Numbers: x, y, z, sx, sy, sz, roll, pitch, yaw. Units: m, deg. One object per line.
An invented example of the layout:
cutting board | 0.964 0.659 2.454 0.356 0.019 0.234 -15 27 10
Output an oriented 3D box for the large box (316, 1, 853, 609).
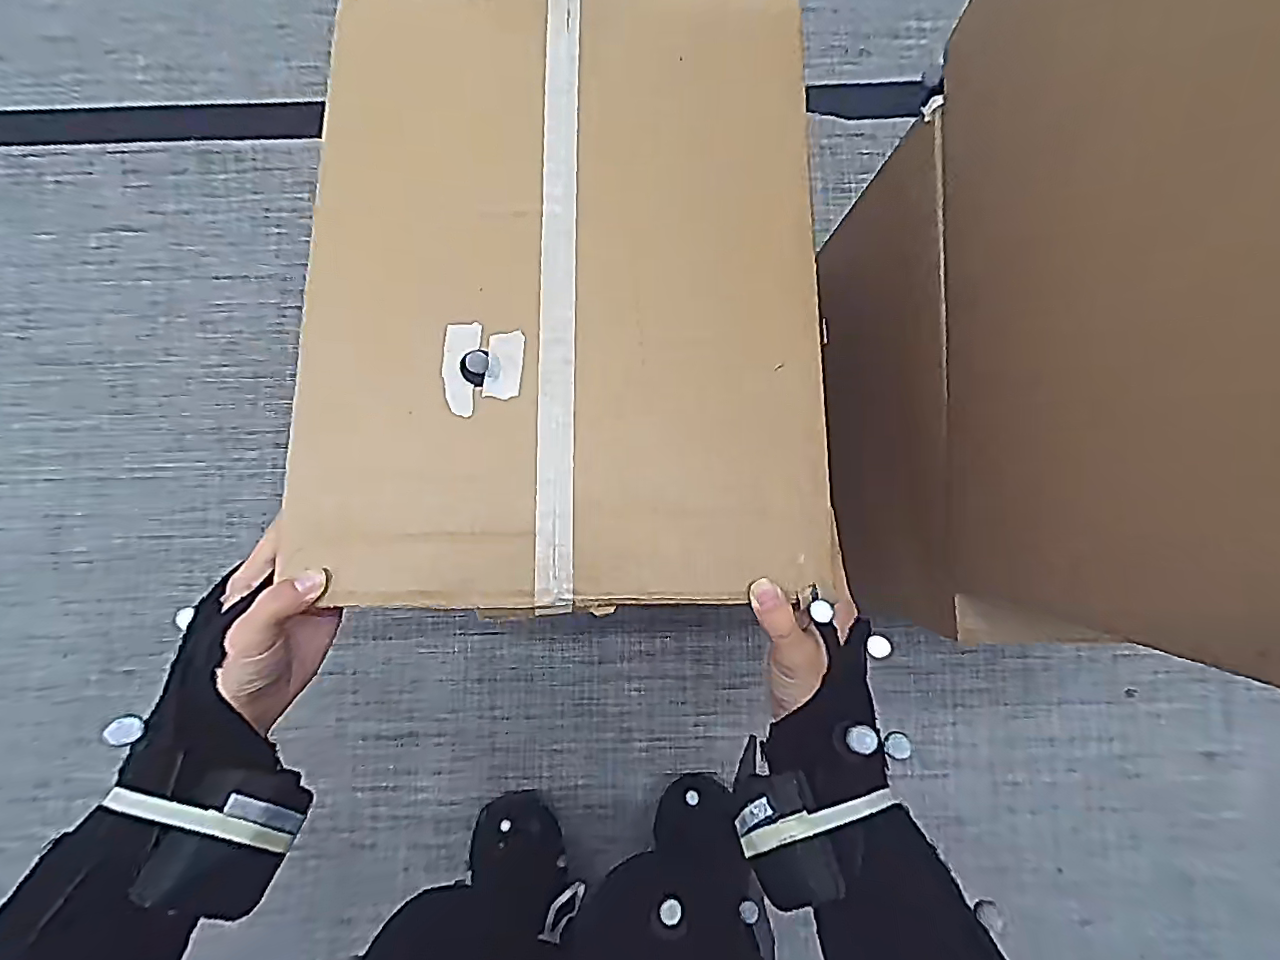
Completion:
large box | -0.039 -0.105 0.484 0.320 0.320 0.408 -1 81 1
